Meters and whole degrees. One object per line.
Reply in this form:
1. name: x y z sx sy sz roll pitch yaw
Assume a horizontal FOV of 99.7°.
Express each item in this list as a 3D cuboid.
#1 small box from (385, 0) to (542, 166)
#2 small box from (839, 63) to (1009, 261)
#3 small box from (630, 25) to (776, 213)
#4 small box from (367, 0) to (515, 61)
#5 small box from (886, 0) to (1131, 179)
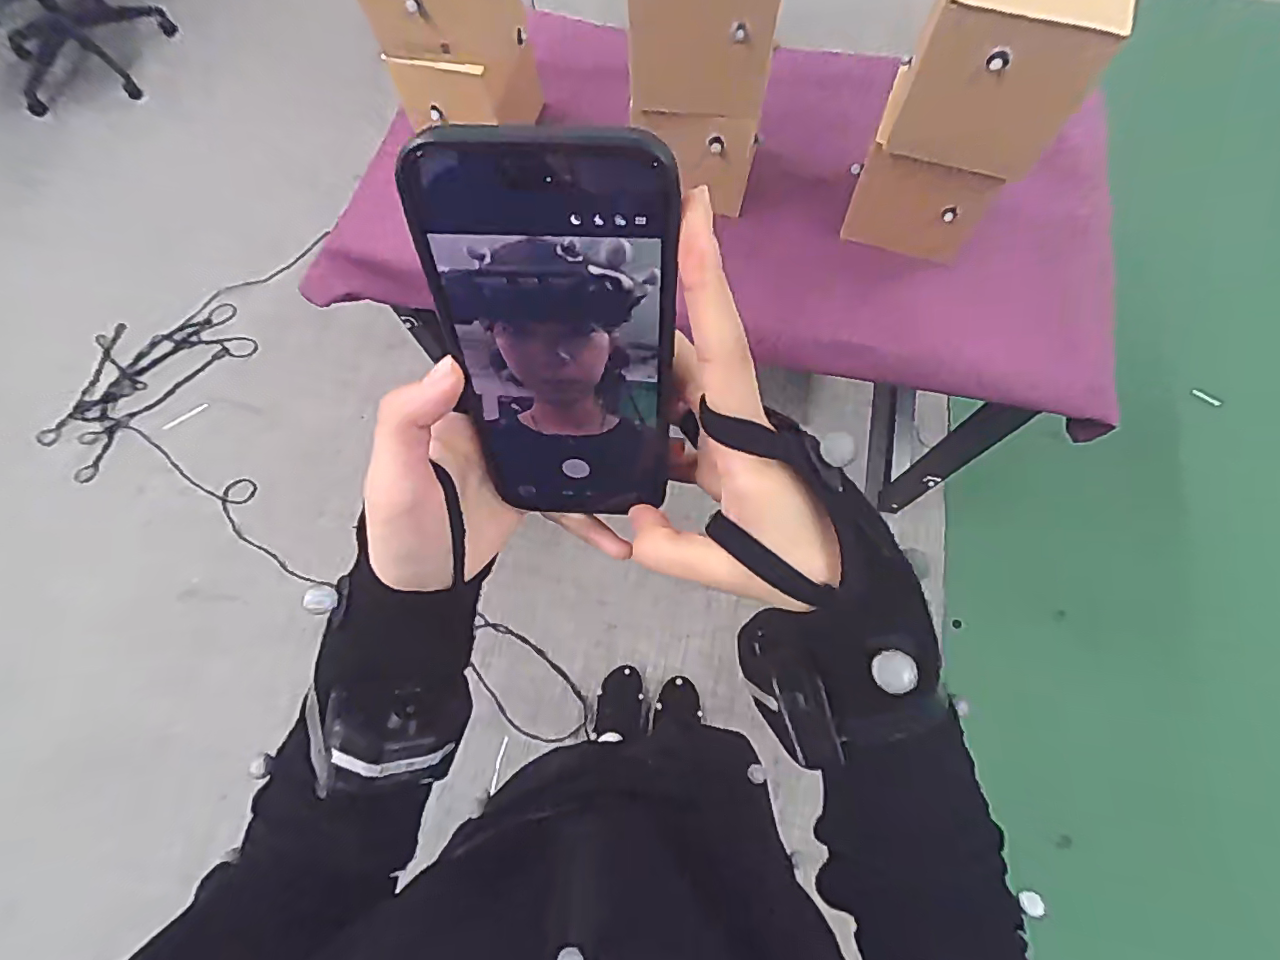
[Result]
1. small box: -0.277 -0.659 0.894 0.168 0.176 0.179 15 72 8
2. small box: 0.417 -0.451 0.788 0.179 0.176 0.168 20 73 10
3. small box: 0.094 -0.546 0.835 0.179 0.176 0.168 14 72 8
4. small box: -0.282 -0.720 0.741 0.168 0.176 0.179 10 72 5
5. small box: 0.414 -0.489 0.628 0.179 0.176 0.168 20 73 9
